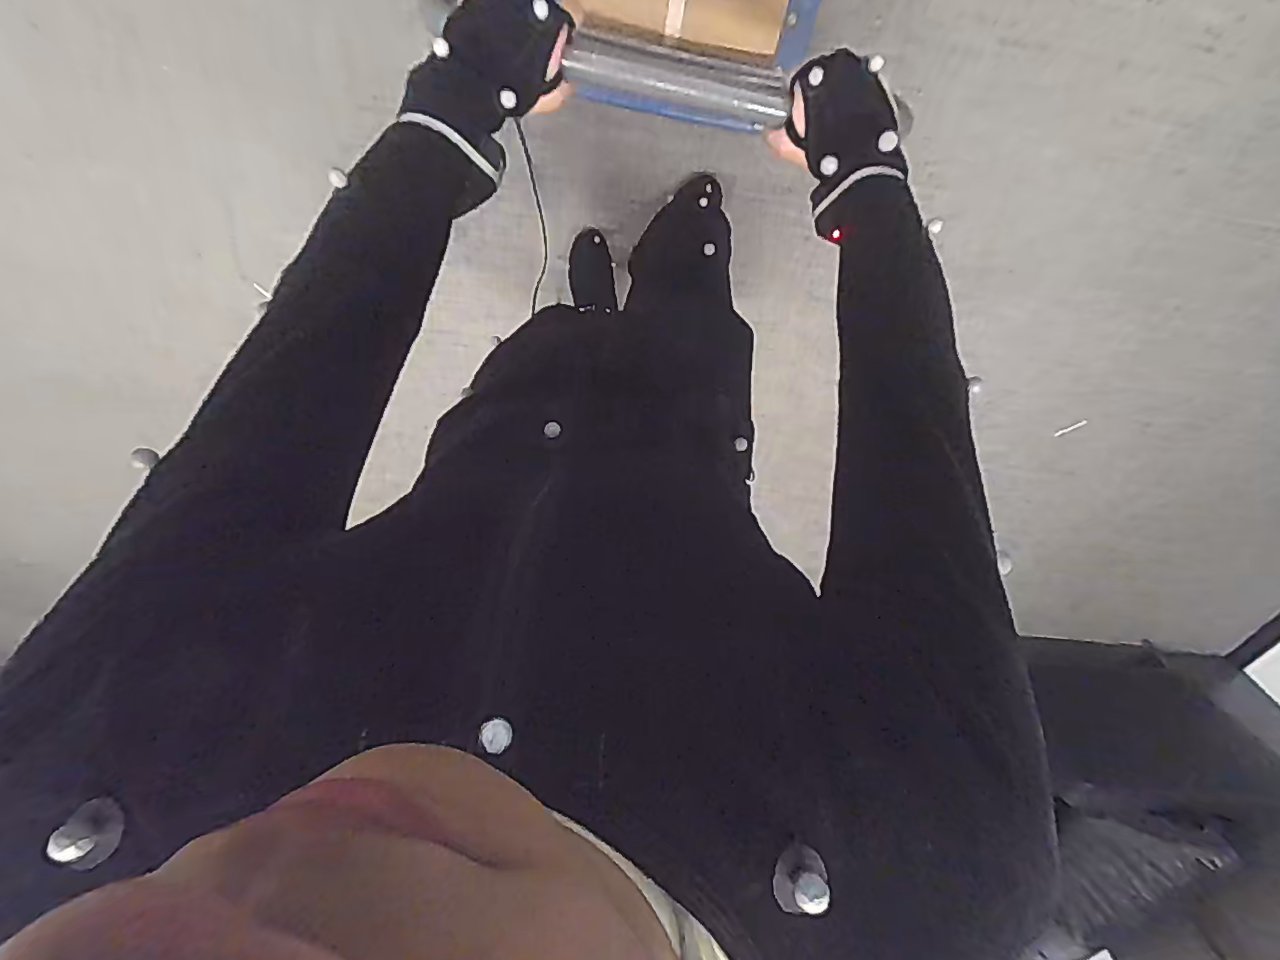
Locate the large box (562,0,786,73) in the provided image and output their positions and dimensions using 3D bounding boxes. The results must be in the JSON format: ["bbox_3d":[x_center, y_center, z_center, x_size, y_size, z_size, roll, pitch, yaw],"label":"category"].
[{"bbox_3d":[0.070,-0.870,0.791,0.320,0.320,0.408,7,126,-7],"label":"large box"}]
